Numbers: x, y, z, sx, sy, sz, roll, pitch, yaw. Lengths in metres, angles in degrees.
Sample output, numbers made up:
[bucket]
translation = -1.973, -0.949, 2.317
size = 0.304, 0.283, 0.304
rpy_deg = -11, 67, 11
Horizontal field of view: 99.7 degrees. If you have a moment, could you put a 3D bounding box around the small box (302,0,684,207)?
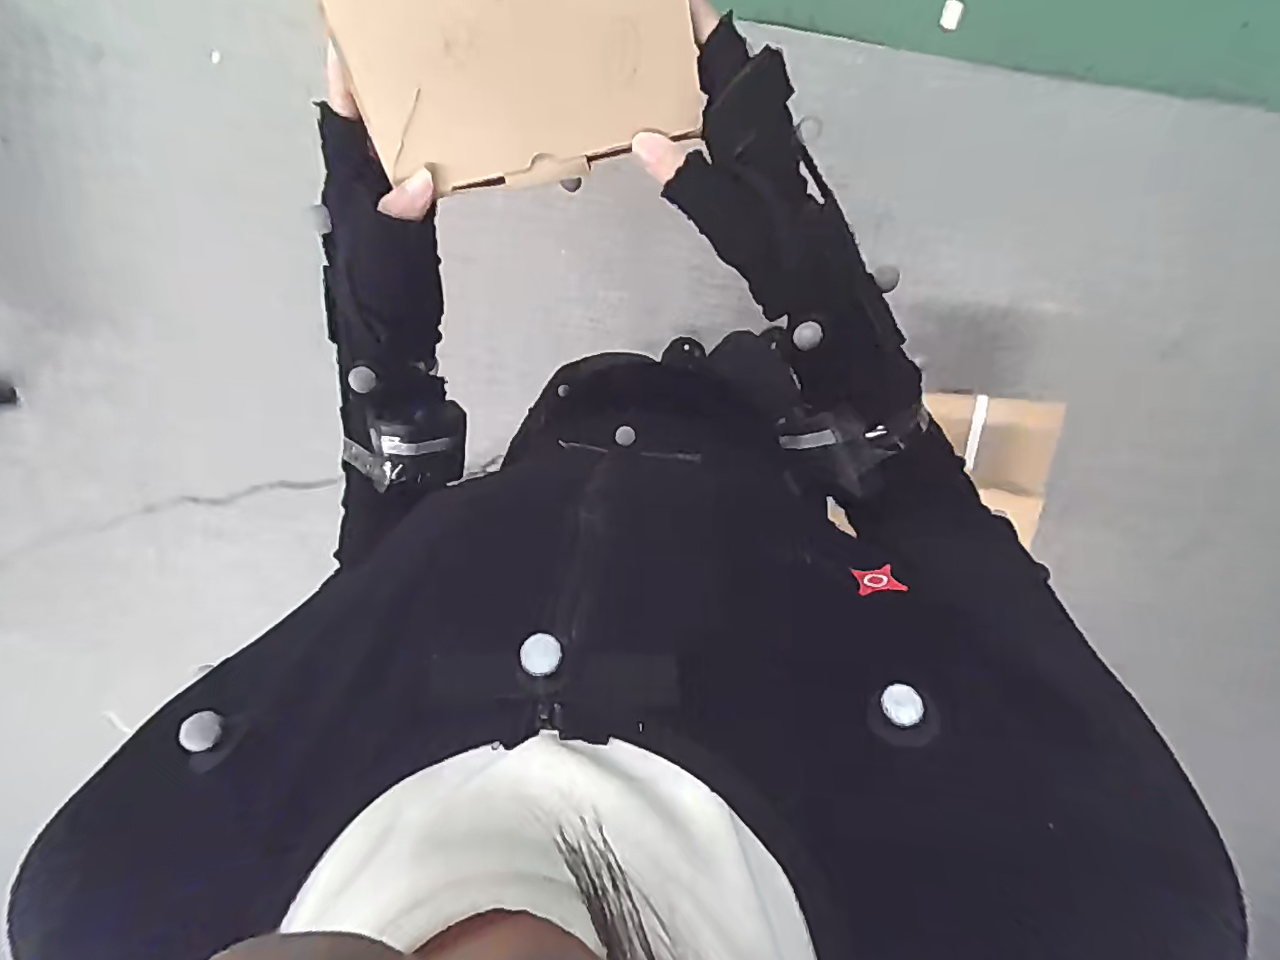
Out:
[small box]
translation = -0.071, -0.275, 0.299
size = 0.168, 0.176, 0.179
rpy_deg = -10, 124, 7
